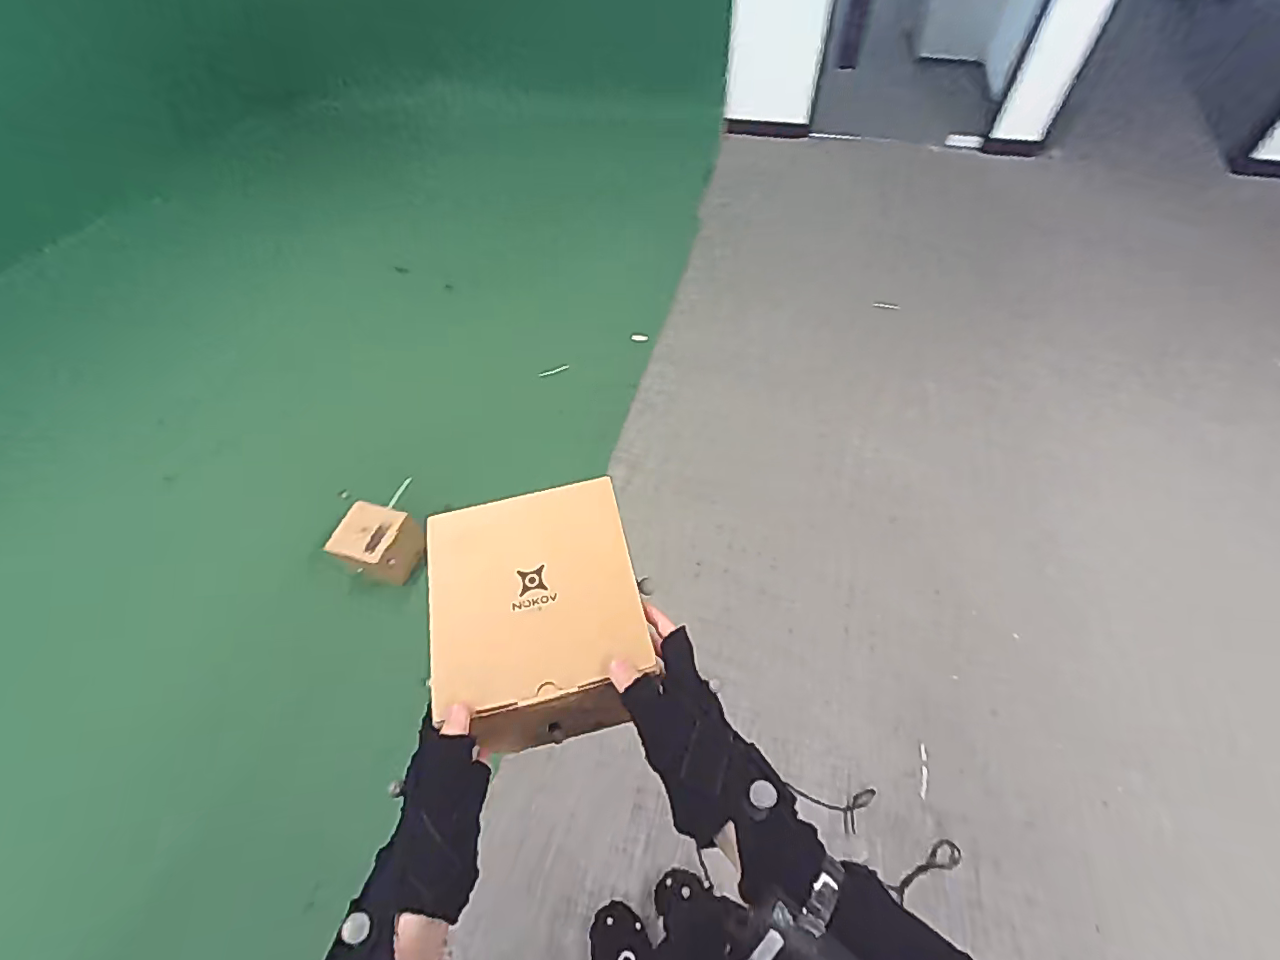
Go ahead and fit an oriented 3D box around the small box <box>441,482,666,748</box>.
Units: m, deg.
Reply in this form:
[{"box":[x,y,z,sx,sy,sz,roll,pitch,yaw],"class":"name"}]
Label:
[{"box":[-0.076,0.130,0.502,0.168,0.176,0.179,-11,58,-5],"class":"small box"}]
